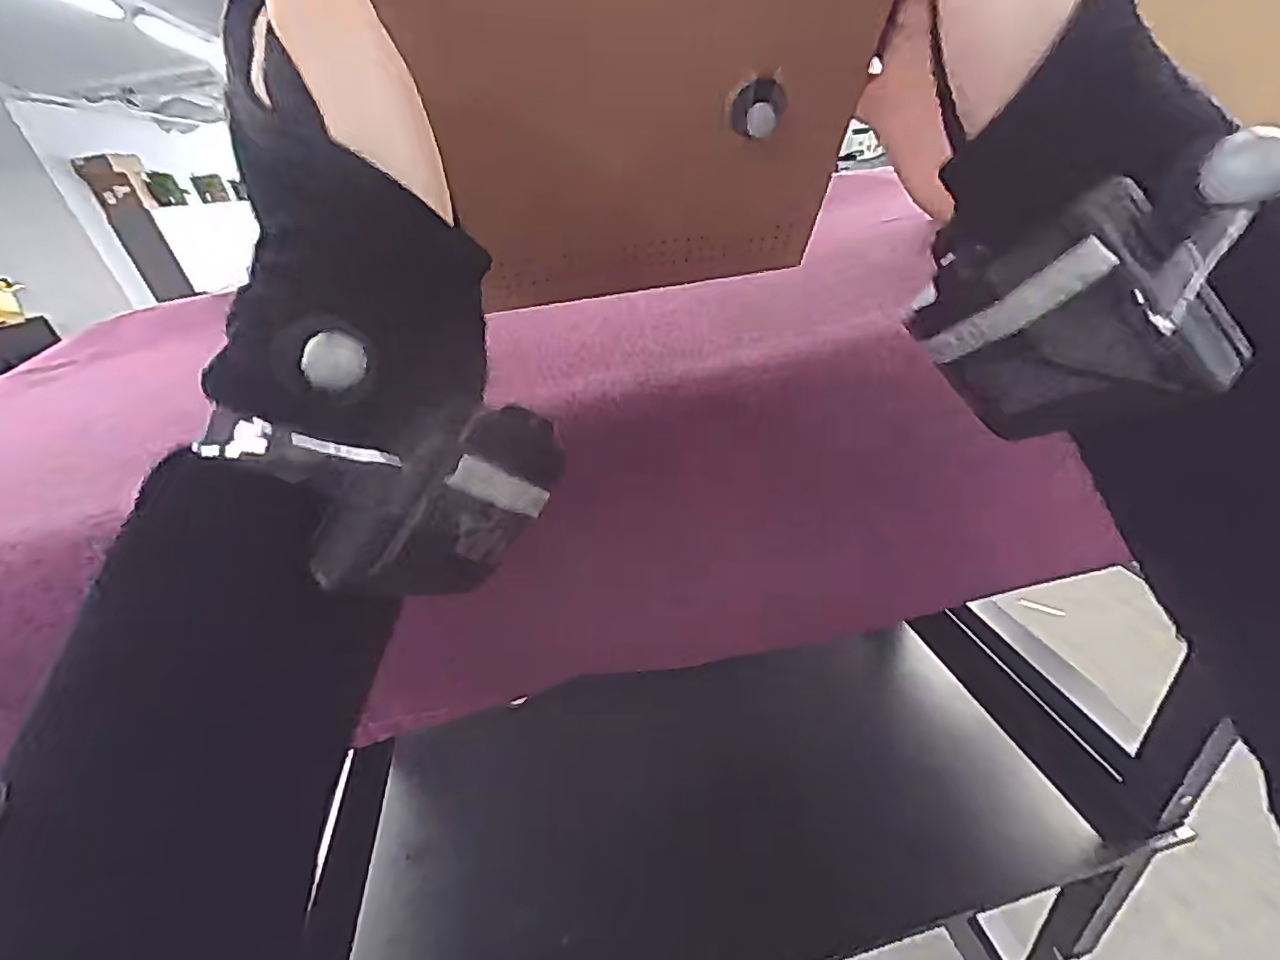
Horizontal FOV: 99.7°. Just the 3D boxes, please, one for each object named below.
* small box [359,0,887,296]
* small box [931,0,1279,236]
[{"bbox_3d":[-0.012,-0.207,0.236,0.179,0.176,0.168,-10,67,-4],"label":"small box"},{"bbox_3d":[0.339,-0.288,0.389,0.179,0.176,0.168,-9,30,3],"label":"small box"}]
